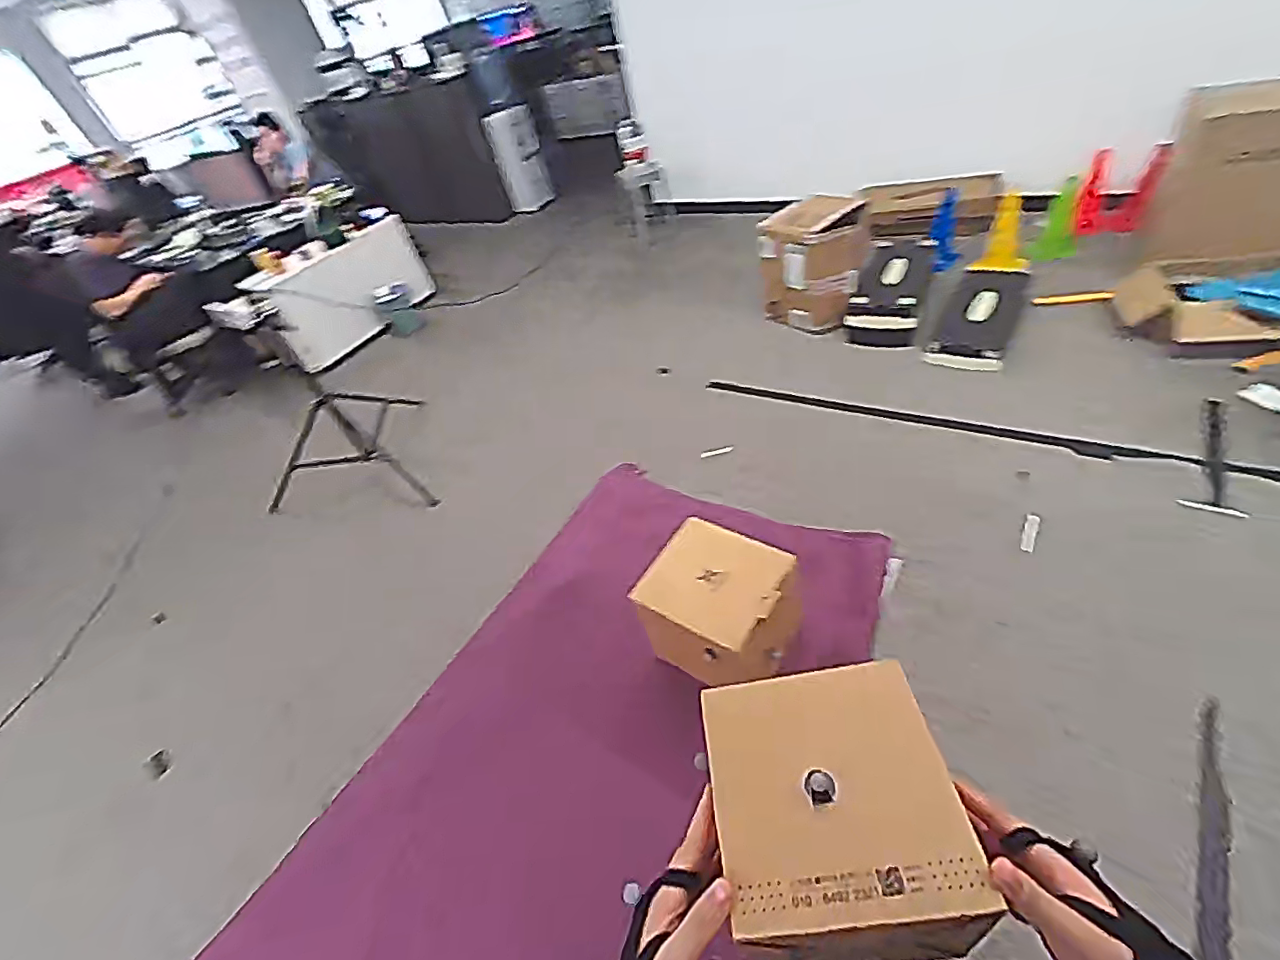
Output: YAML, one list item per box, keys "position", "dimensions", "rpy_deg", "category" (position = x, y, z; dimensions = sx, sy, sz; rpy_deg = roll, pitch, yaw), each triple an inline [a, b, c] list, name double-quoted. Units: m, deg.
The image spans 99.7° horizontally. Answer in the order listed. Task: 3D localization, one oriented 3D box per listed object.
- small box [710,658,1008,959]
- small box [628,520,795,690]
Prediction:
- position: [0.161, 0.274, 0.438]
  dimensions: [0.168, 0.179, 0.176]
  rpy_deg: [-12, 41, 9]
  category: "small box"
- position: [0.113, 0.193, 0.798]
  dimensions: [0.179, 0.176, 0.168]
  rpy_deg: [19, 55, 34]
  category: "small box"
